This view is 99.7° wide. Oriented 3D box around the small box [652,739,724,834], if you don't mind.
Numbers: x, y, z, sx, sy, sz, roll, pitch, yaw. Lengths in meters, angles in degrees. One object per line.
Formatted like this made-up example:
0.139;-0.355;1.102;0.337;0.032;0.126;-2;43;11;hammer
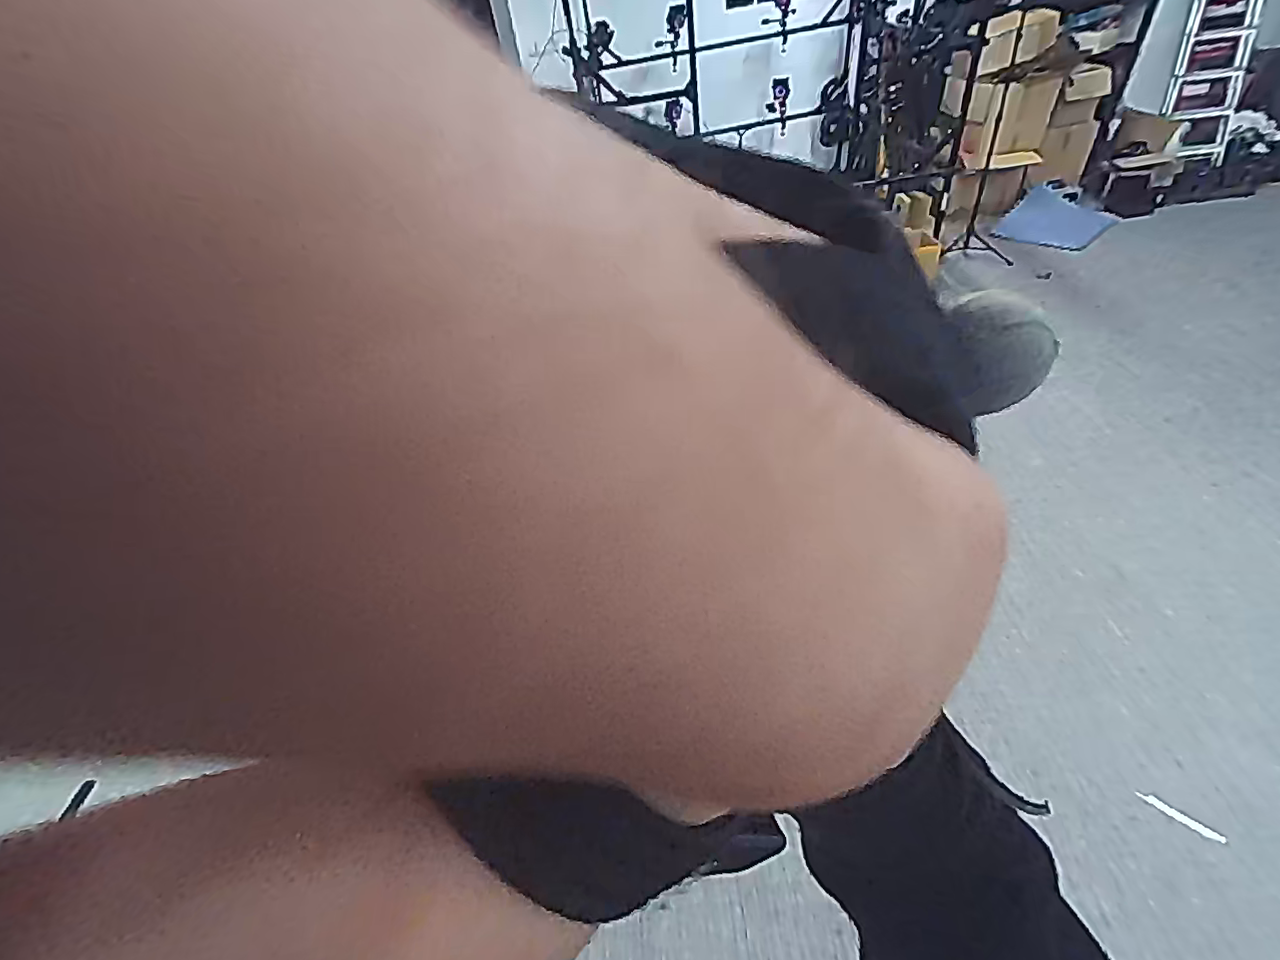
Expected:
0.127;0.811;1.423;0.168;0.176;0.179;-8;41;3;small box
